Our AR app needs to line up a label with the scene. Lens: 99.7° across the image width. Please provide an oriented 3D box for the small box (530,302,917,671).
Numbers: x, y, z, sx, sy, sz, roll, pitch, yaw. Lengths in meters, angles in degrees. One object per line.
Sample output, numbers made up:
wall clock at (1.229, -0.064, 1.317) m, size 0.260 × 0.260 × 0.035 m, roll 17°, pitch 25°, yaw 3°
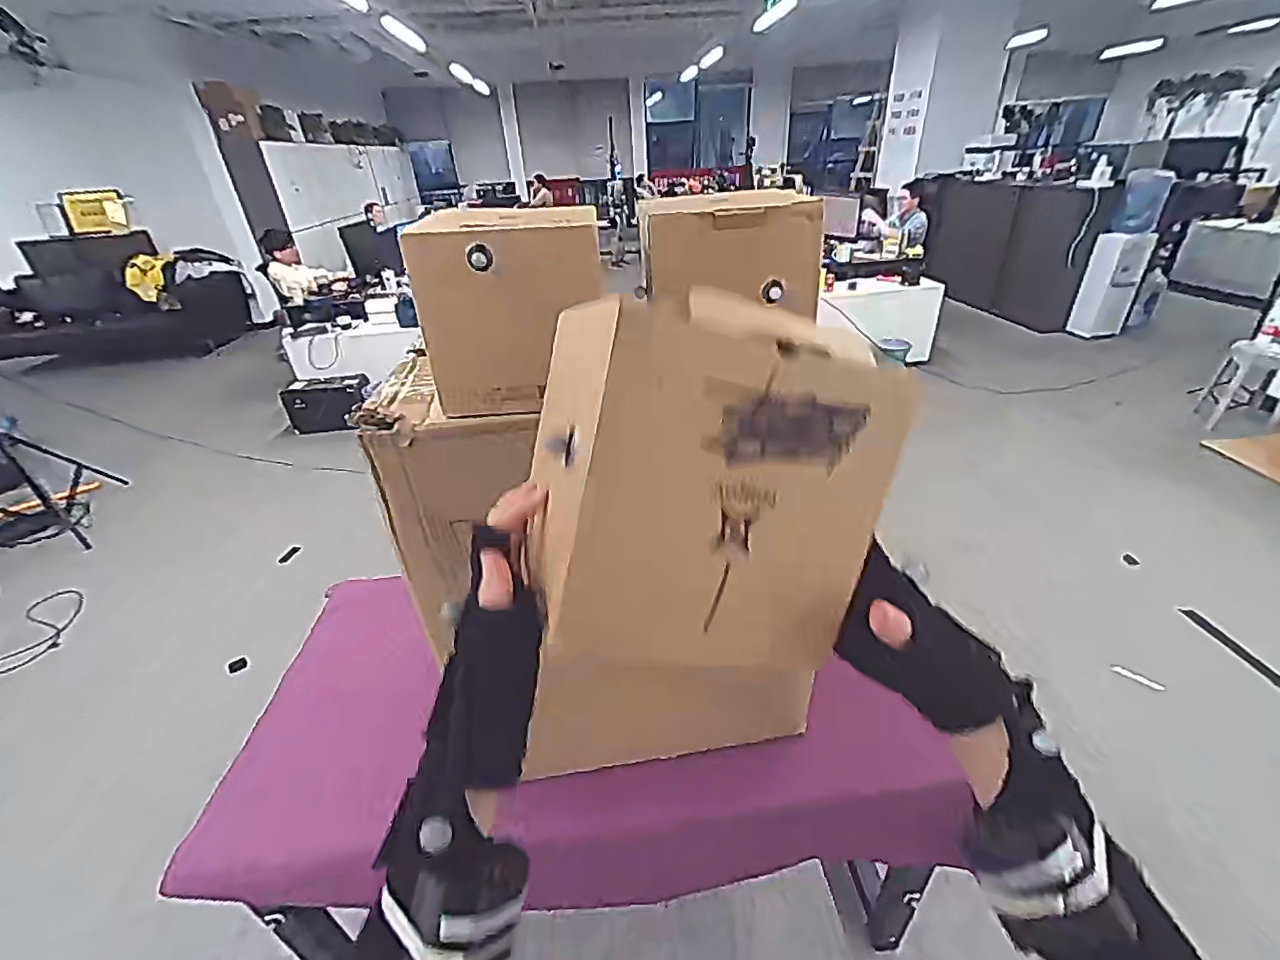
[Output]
small box at (0.028, -0.003, 0.343) m, size 0.168 × 0.179 × 0.176 m, roll 8°, pitch 13°, yaw -18°

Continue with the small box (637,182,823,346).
small box at (0.088, -0.223, 0.598) m, size 0.168 × 0.176 × 0.179 m, roll -5°, pitch 30°, yaw -1°
